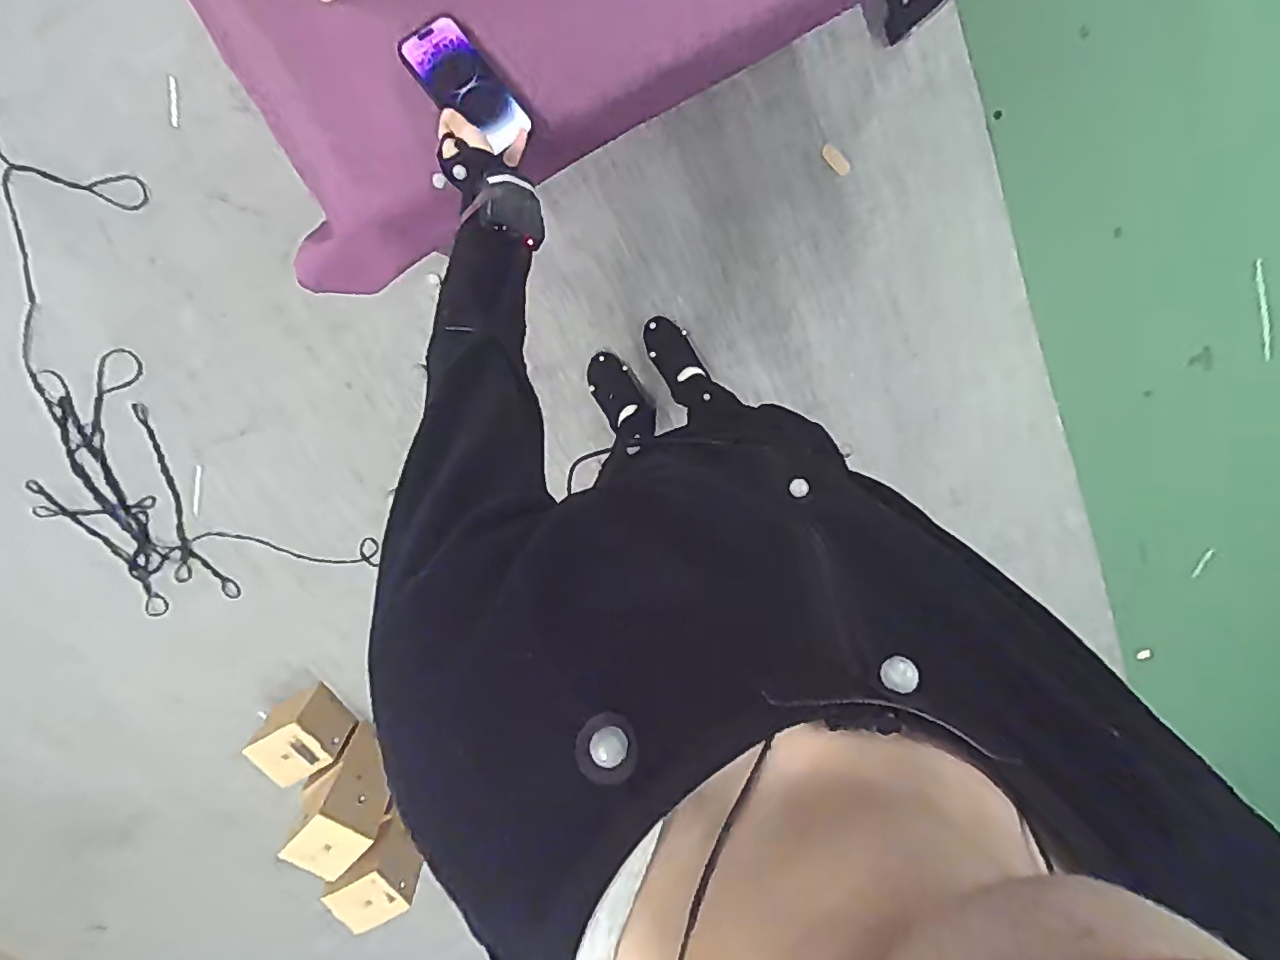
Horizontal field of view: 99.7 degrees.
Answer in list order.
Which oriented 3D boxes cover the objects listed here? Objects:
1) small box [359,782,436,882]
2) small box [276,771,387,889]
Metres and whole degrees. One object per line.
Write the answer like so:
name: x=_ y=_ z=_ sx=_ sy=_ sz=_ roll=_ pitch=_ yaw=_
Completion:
small box: x=-0.758 y=1.066 z=1.658 sx=0.168 sy=0.176 sz=0.179 roll=-29 pitch=108 yaw=3
small box: x=-0.806 y=0.923 z=1.438 sx=0.168 sy=0.176 sz=0.179 roll=42 pitch=98 yaw=-17
